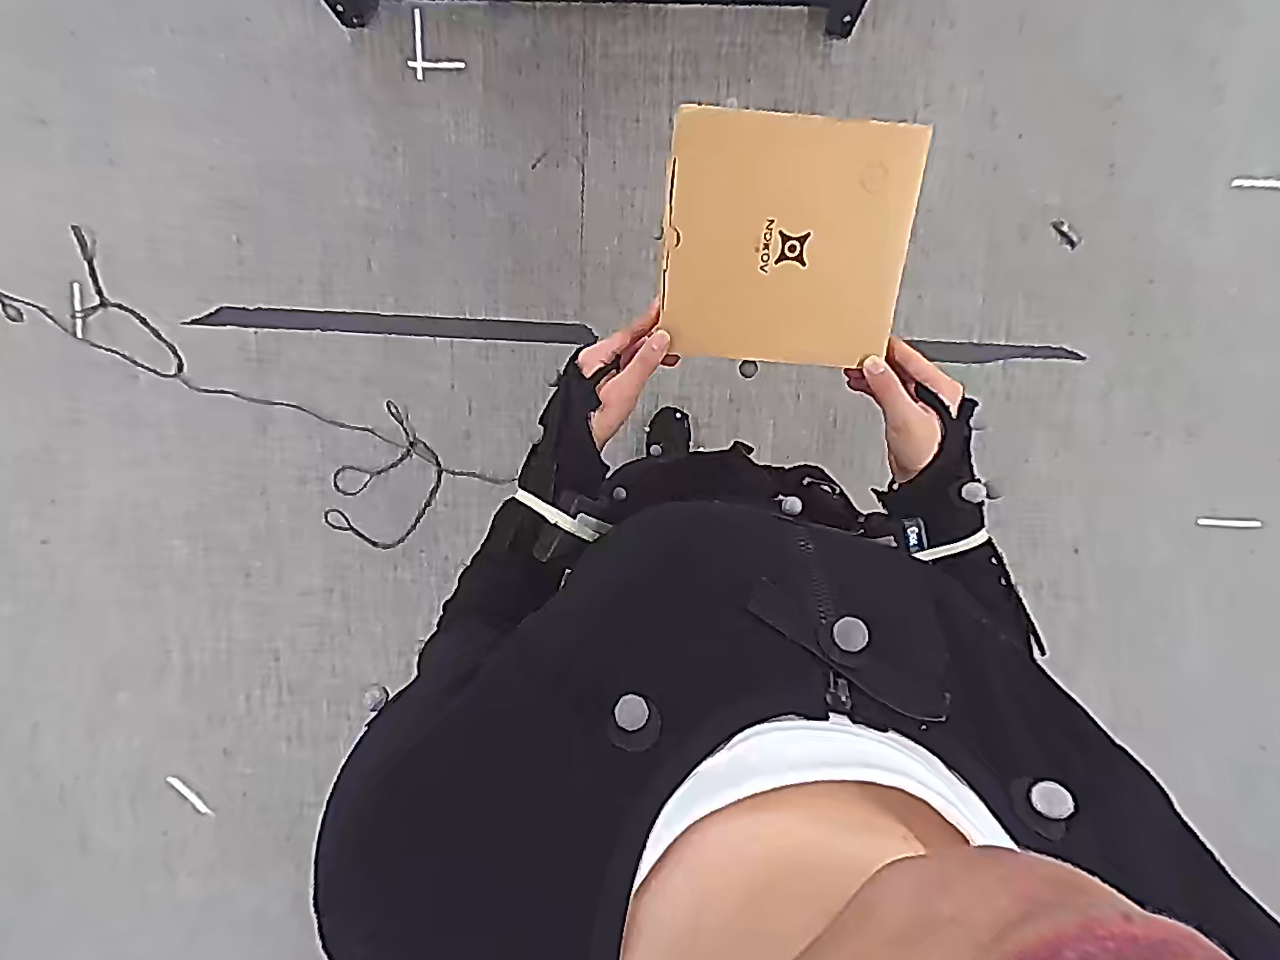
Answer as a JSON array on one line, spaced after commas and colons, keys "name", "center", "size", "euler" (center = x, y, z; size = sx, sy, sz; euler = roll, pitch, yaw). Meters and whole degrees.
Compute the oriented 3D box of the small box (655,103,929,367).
[{"name": "small box", "center": [0.107, -0.197, 0.468], "size": [0.179, 0.176, 0.168], "euler": [5, 108, 1]}]
